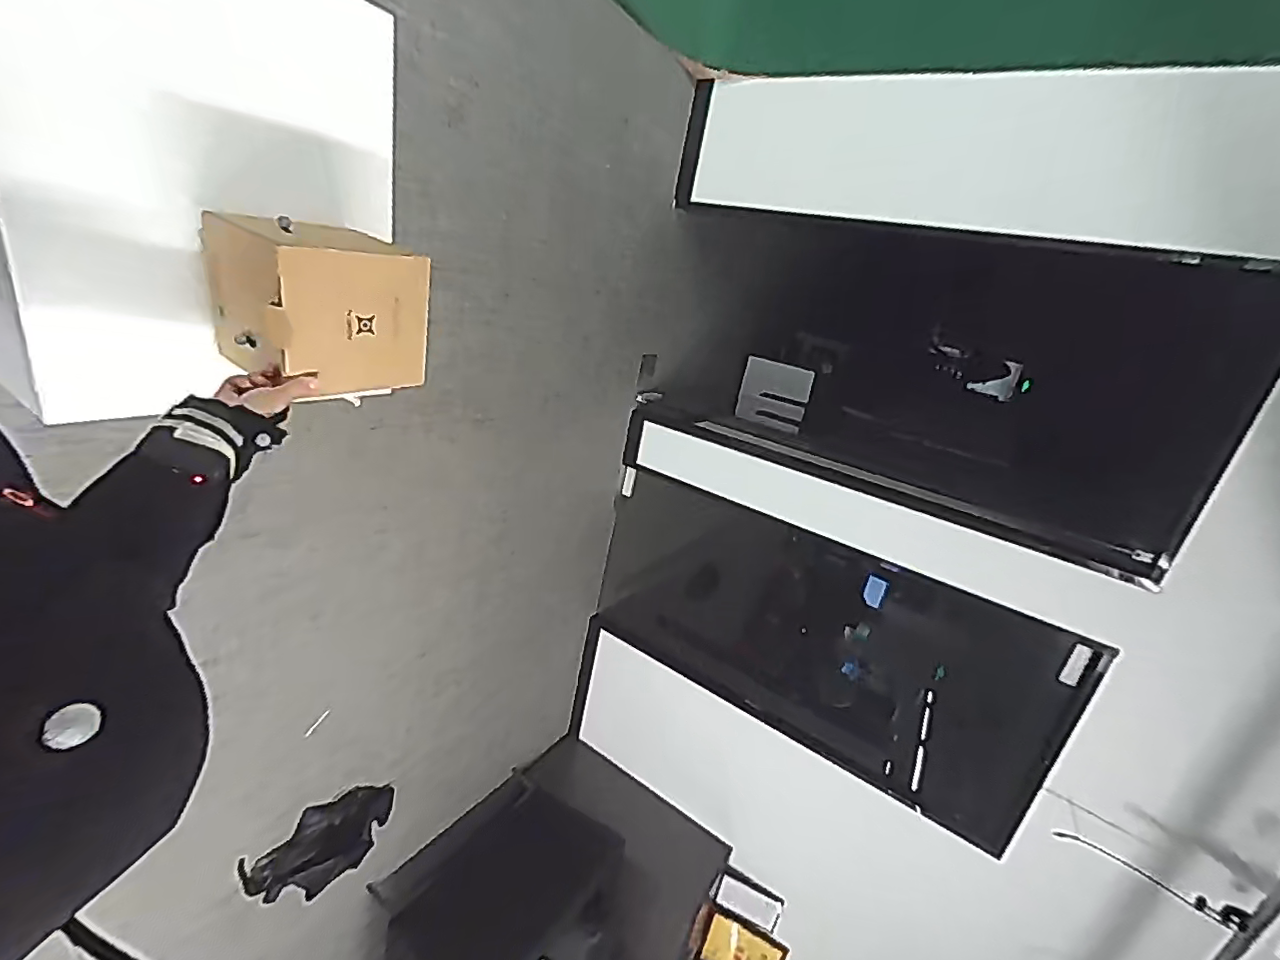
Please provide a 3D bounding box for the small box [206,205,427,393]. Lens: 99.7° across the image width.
[{"bbox_3d":[-0.388,-0.220,0.653,0.179,0.176,0.168,-25,137,-52],"label":"small box"}]
